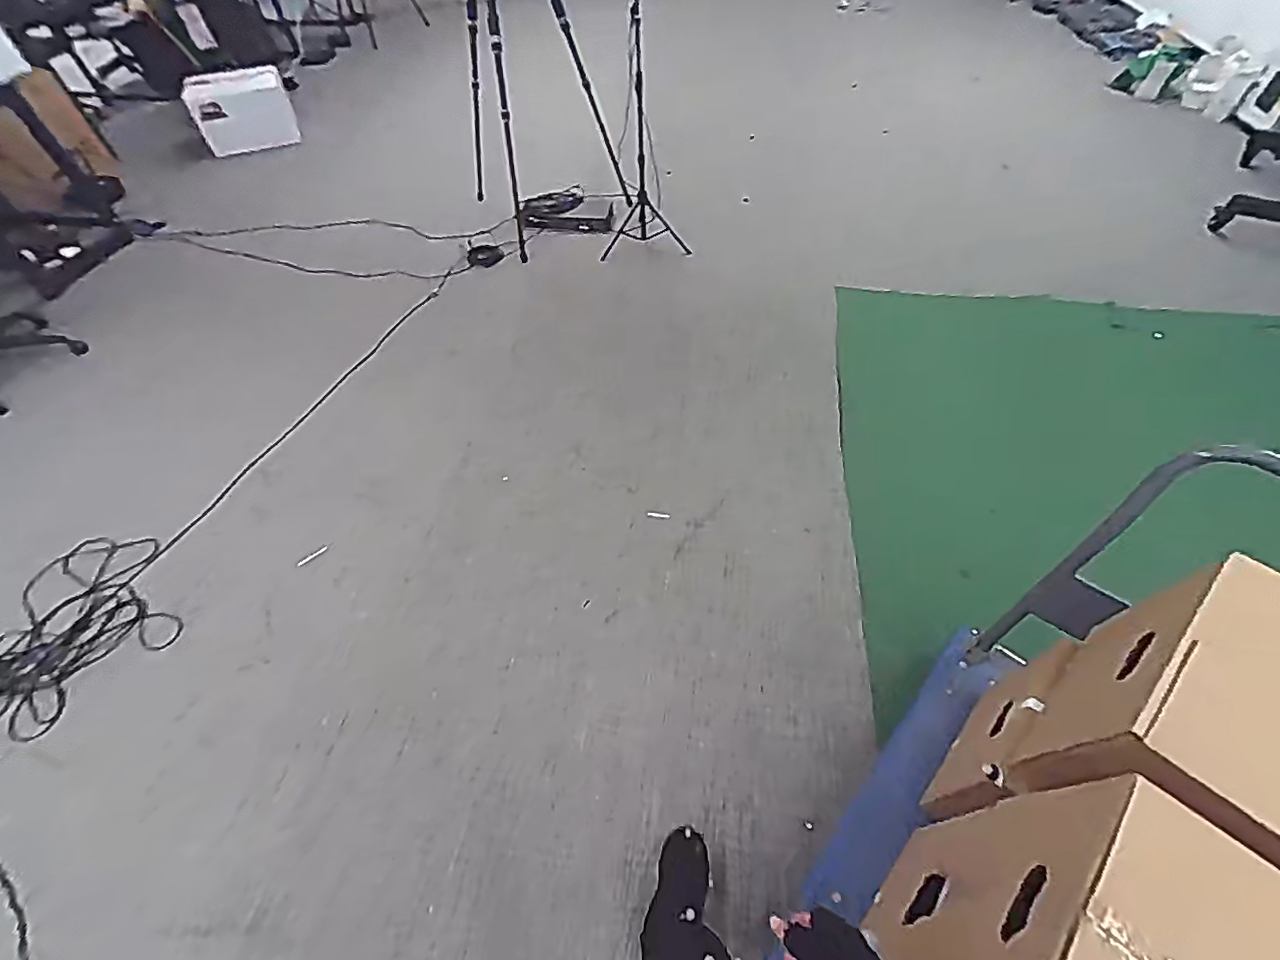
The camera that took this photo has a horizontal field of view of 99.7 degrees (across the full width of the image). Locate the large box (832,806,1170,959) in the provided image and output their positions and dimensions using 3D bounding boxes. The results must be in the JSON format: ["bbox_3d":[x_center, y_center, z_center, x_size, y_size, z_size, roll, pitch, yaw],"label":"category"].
[{"bbox_3d":[0.548,0.780,0.786,0.408,0.320,0.320,35,59,28],"label":"large box"}]
